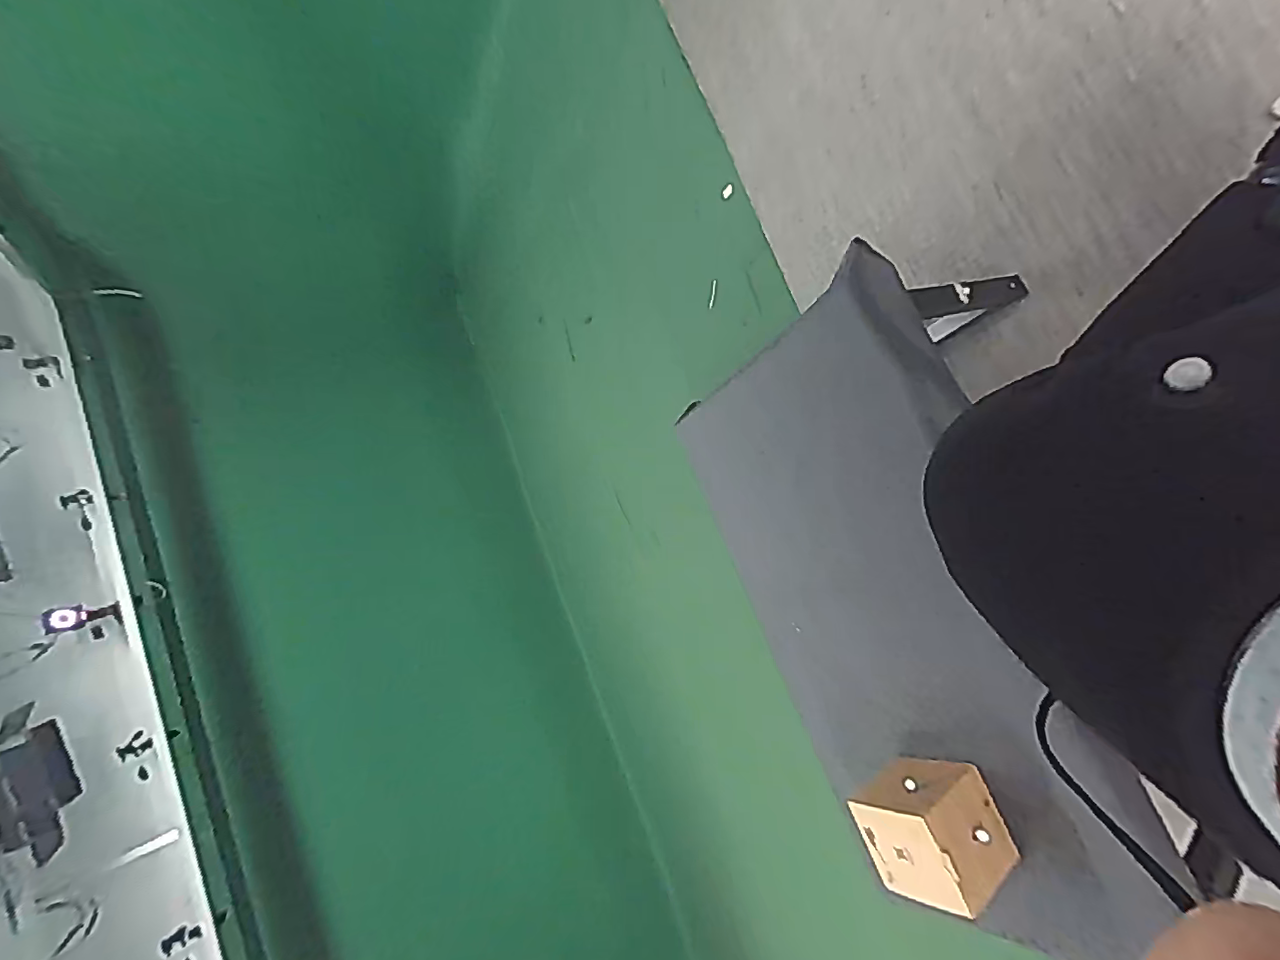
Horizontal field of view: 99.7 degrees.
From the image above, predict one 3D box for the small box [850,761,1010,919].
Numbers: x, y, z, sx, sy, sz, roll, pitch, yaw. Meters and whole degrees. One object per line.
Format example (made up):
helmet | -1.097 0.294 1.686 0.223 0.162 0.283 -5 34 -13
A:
small box | 0.532 0.636 0.984 0.179 0.176 0.168 -39 71 56
